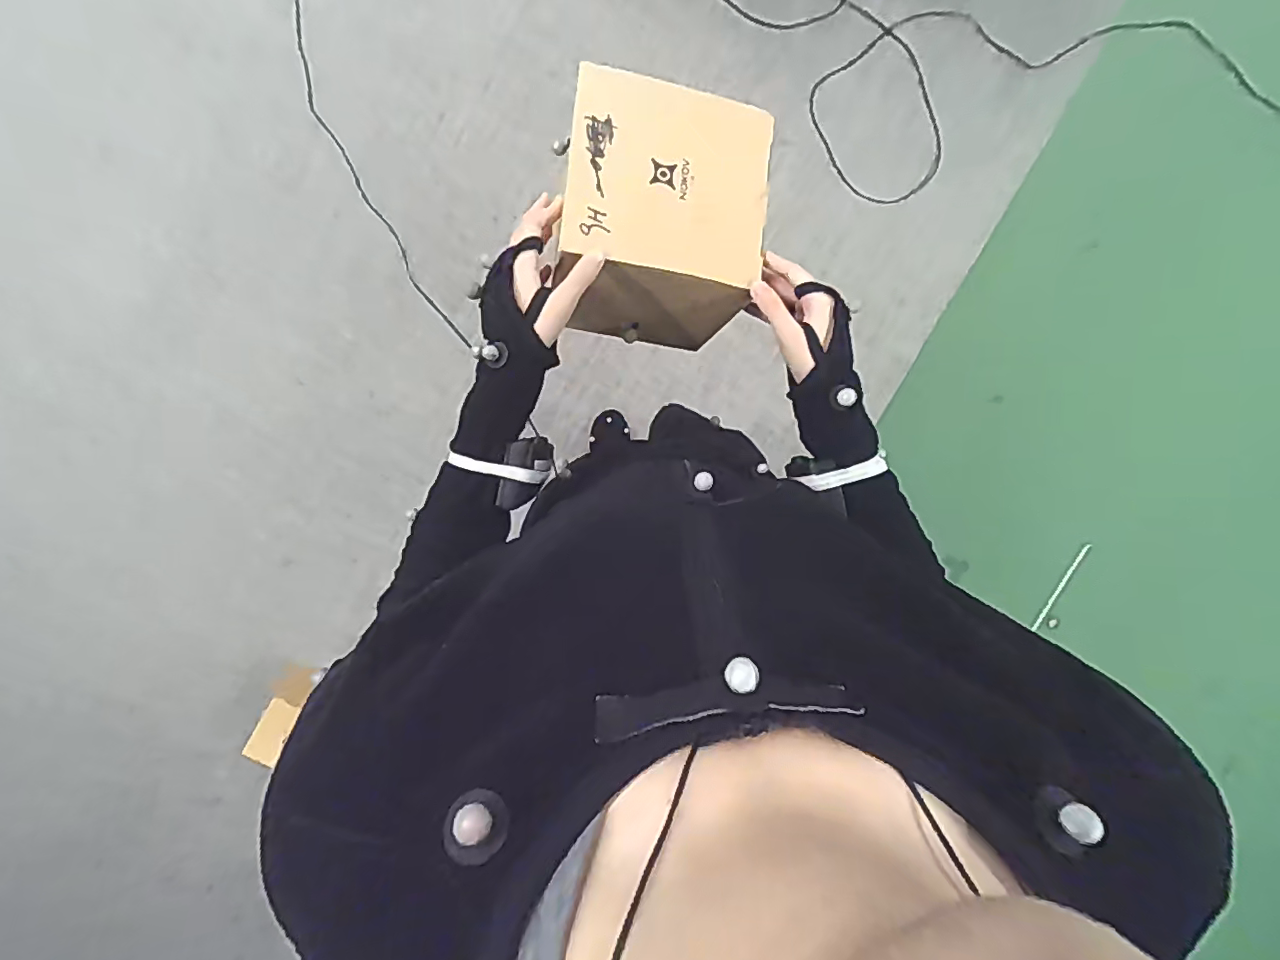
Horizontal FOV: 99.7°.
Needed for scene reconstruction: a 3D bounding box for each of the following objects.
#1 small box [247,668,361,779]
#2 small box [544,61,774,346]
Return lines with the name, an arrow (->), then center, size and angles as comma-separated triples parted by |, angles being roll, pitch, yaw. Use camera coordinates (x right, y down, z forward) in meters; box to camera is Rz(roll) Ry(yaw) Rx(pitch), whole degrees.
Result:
small box -> -0.880, 0.640, 1.438 | 0.168, 0.176, 0.179 | 31, 93, -8
small box -> 0.008, -0.244, 0.528 | 0.179, 0.176, 0.168 | 7, 82, -13
